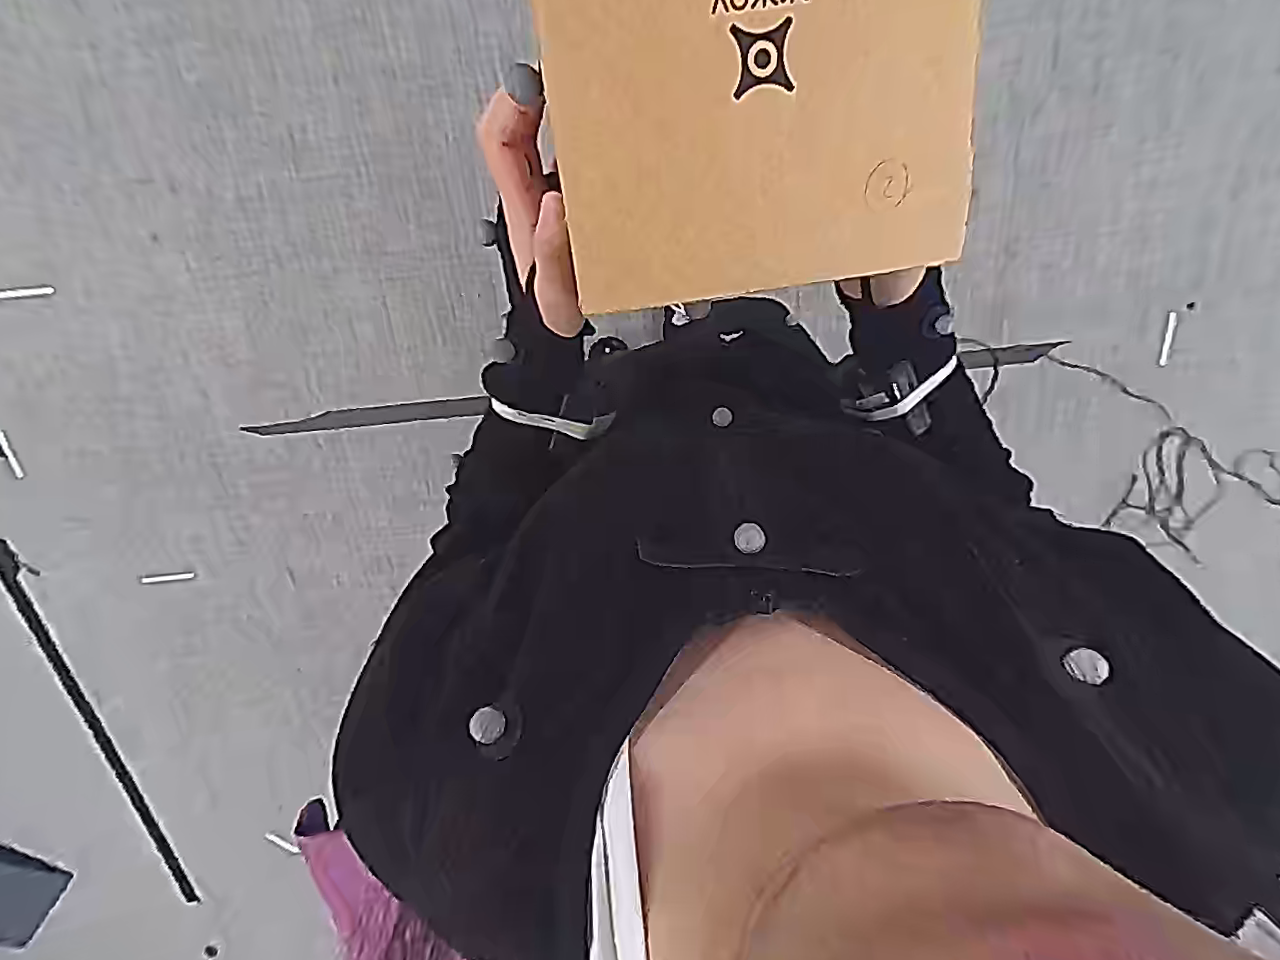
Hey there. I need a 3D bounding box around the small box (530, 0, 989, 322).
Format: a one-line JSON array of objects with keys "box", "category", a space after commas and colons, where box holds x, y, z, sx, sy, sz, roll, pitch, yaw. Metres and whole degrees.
[{"box": [0.043, -0.188, 0.274, 0.168, 0.176, 0.179, -9, 111, 1], "category": "small box"}]
